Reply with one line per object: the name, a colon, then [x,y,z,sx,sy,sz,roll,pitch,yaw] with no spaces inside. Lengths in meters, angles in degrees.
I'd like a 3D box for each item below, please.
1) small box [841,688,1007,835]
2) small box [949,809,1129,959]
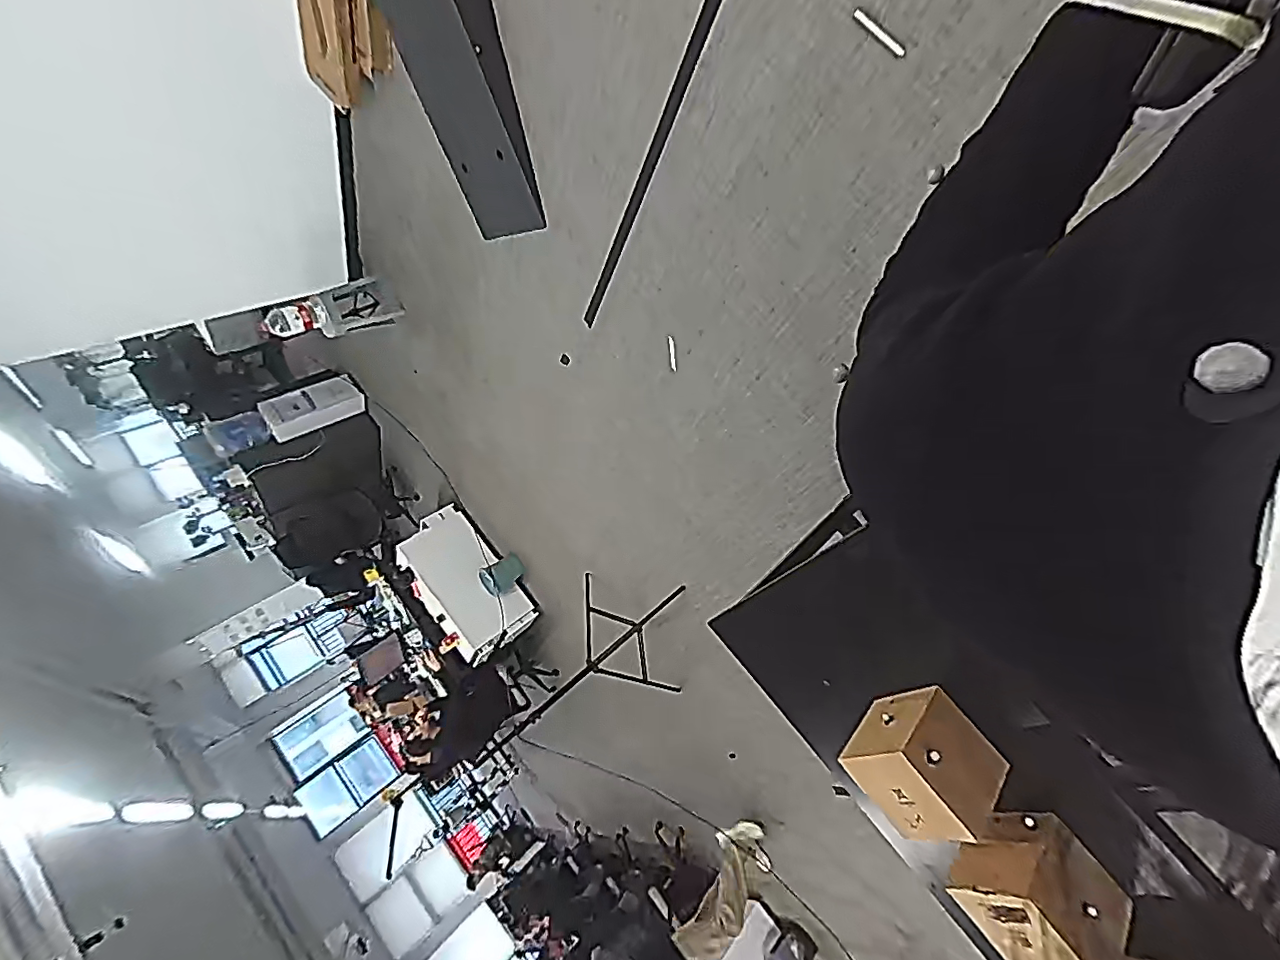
small box: [0.515,0.501,0.983,0.179,0.176,0.168,49,146,11]
small box: [0.688,0.703,0.936,0.179,0.176,0.168,49,145,9]
